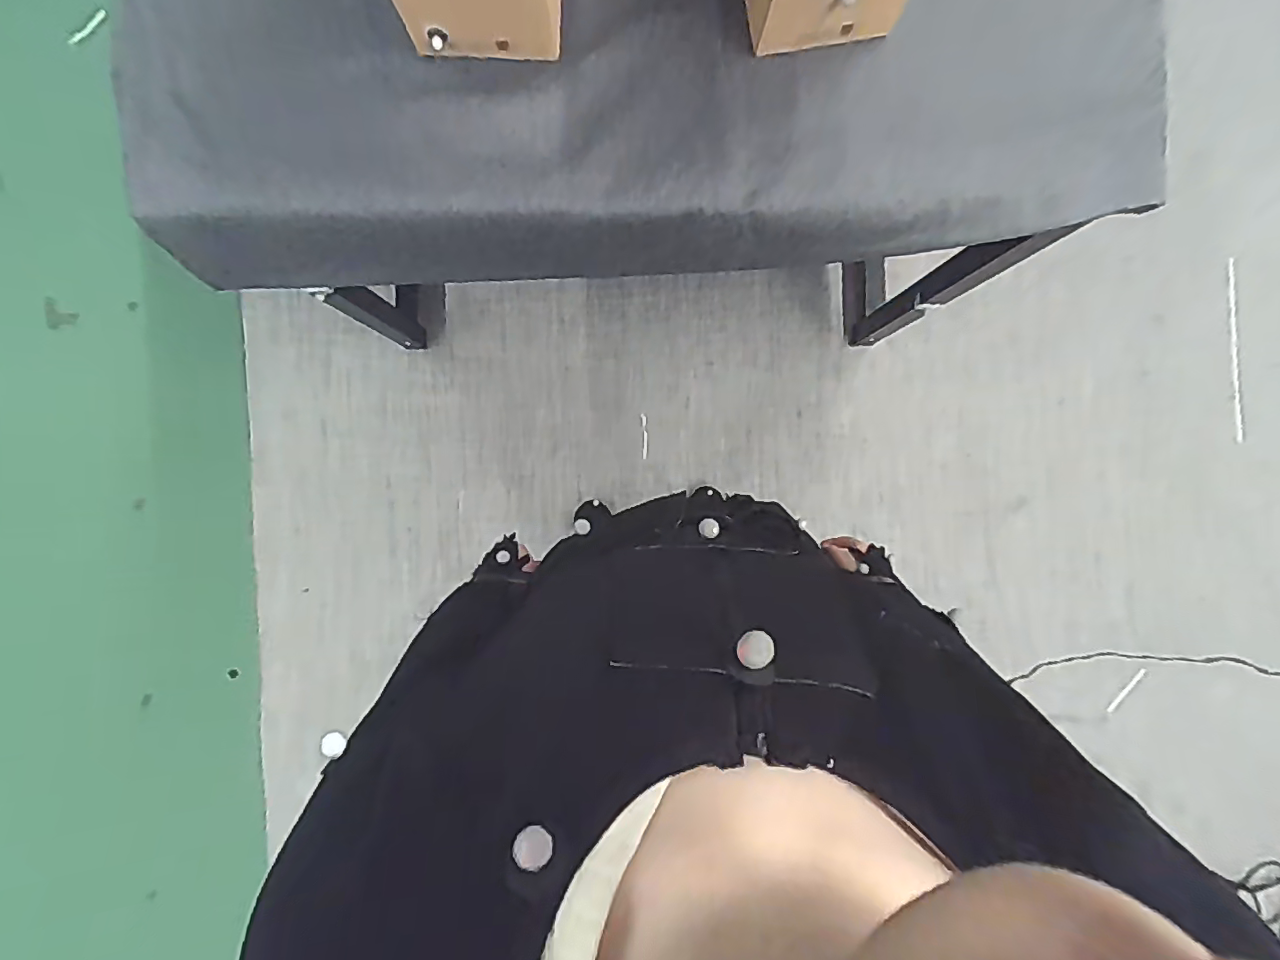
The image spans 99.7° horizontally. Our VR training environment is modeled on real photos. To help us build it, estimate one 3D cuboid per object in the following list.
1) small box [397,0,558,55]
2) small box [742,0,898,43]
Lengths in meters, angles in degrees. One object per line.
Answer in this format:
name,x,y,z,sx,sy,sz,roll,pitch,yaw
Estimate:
small box,-0.175,-0.582,0.553,0.168,0.176,0.179,2,89,-1
small box,0.198,-0.598,0.558,0.168,0.176,0.179,-10,91,-1
